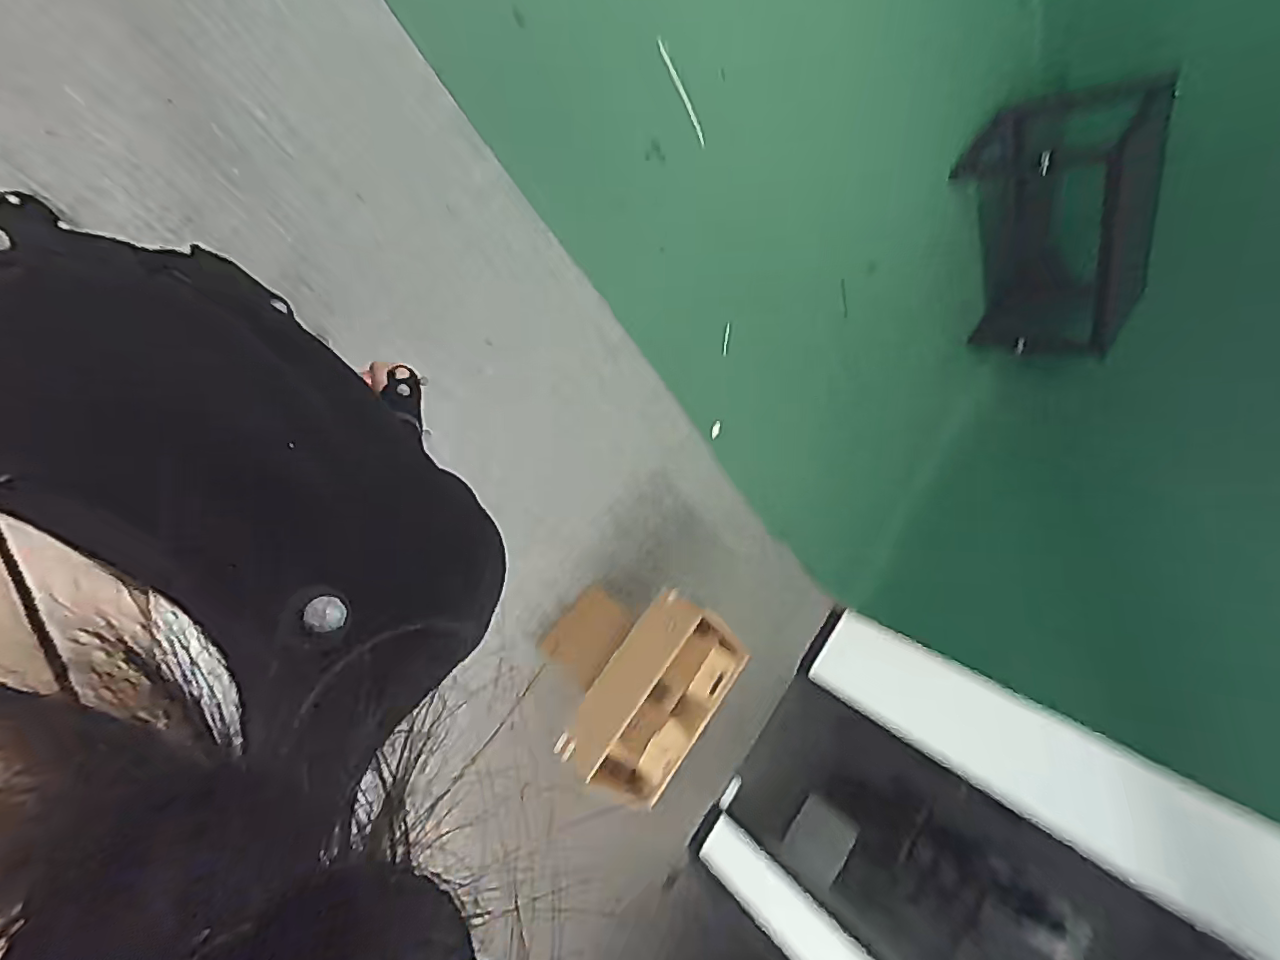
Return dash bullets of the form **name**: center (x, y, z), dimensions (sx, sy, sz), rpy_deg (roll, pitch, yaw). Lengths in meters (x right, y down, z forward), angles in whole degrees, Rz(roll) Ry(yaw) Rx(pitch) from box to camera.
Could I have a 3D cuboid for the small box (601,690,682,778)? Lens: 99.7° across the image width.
- **small box**: center (0.002, 0.811, 1.747), dimensions (0.168, 0.176, 0.179), rpy_deg (-45, 130, -20)
